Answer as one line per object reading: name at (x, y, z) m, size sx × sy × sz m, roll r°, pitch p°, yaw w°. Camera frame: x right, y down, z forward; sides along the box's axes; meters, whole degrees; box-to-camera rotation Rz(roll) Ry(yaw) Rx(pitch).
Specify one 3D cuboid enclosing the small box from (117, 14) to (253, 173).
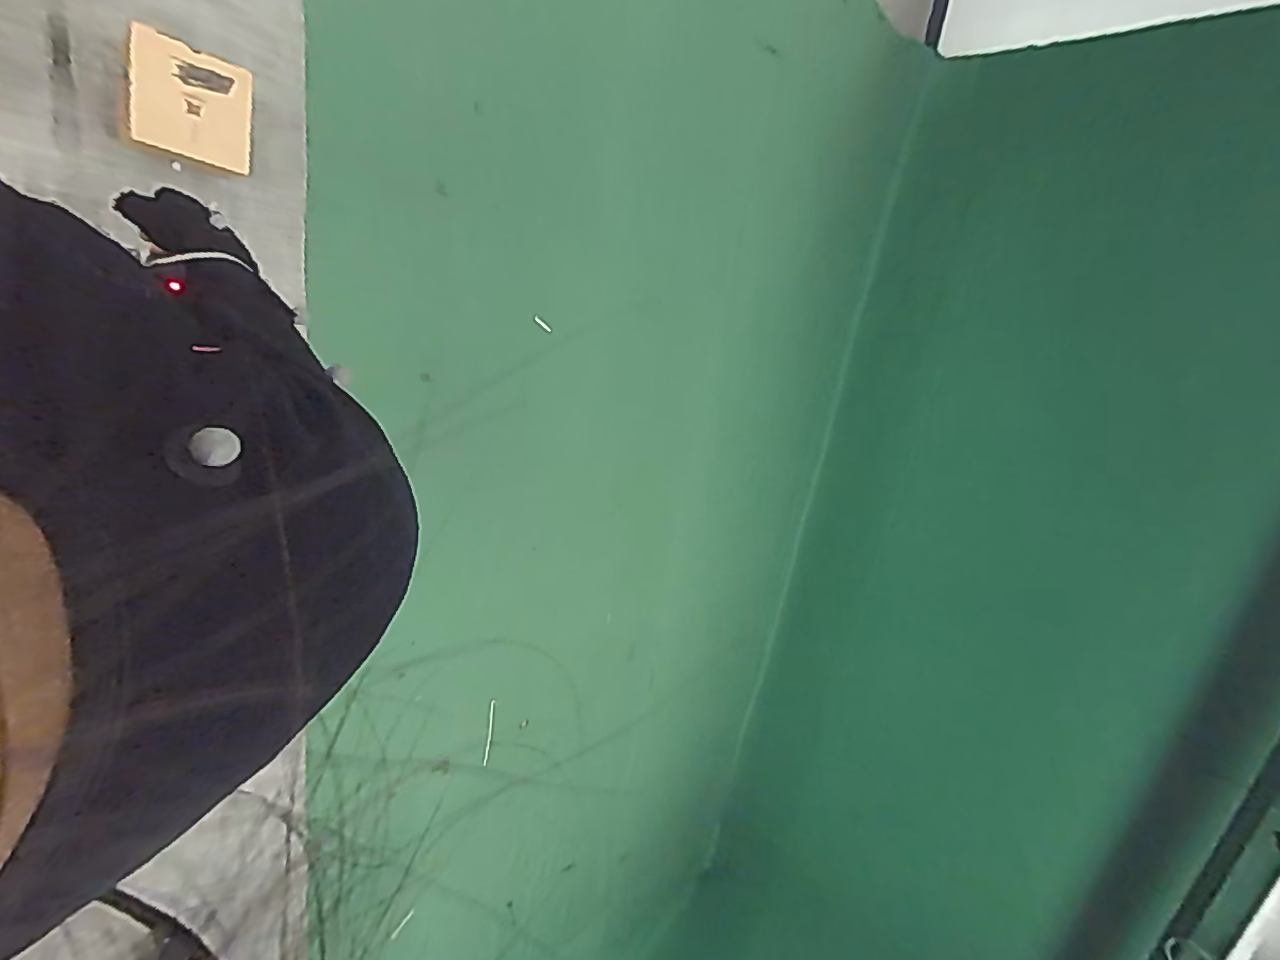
small box at (-0.827, -0.682, 0.980) m, size 0.168 × 0.176 × 0.179 m, roll -3°, pitch 111°, yaw -49°
